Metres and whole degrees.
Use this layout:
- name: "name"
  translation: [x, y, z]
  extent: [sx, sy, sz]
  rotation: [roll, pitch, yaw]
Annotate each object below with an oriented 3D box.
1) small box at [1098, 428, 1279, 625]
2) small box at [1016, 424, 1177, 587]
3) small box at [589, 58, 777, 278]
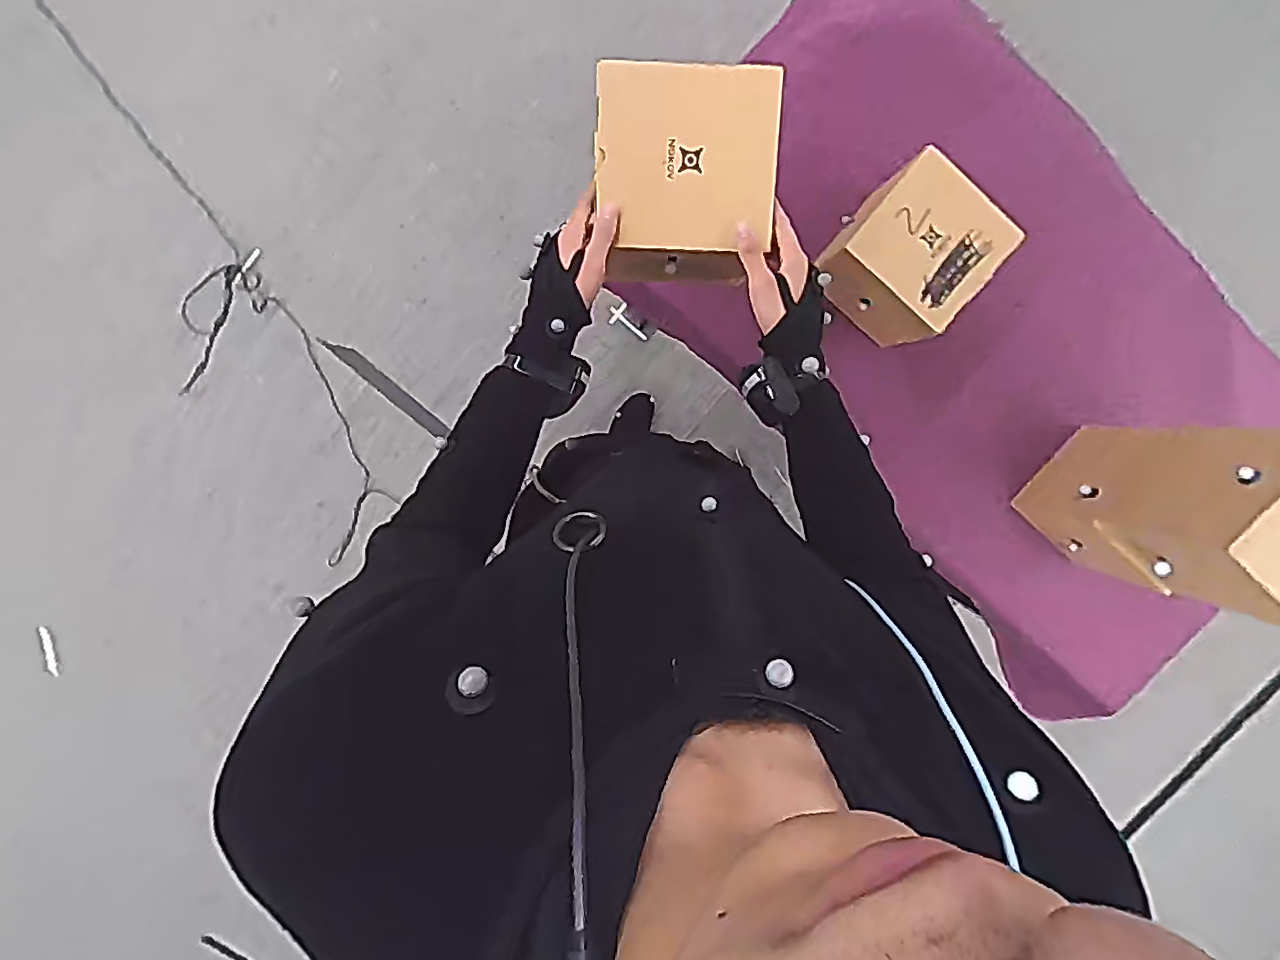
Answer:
- name: "small box"
  translation: [0.755, 0.048, 0.686]
  extent: [0.168, 0.176, 0.179]
  rotation: [41, 96, -7]
- name: "small box"
  translation: [0.743, 0.030, 0.849]
  extent: [0.168, 0.176, 0.179]
  rotation: [41, 95, -7]
- name: "small box"
  translation: [0.039, -0.324, 0.594]
  extent: [0.179, 0.176, 0.168]
  rotation: [1, 101, 1]
